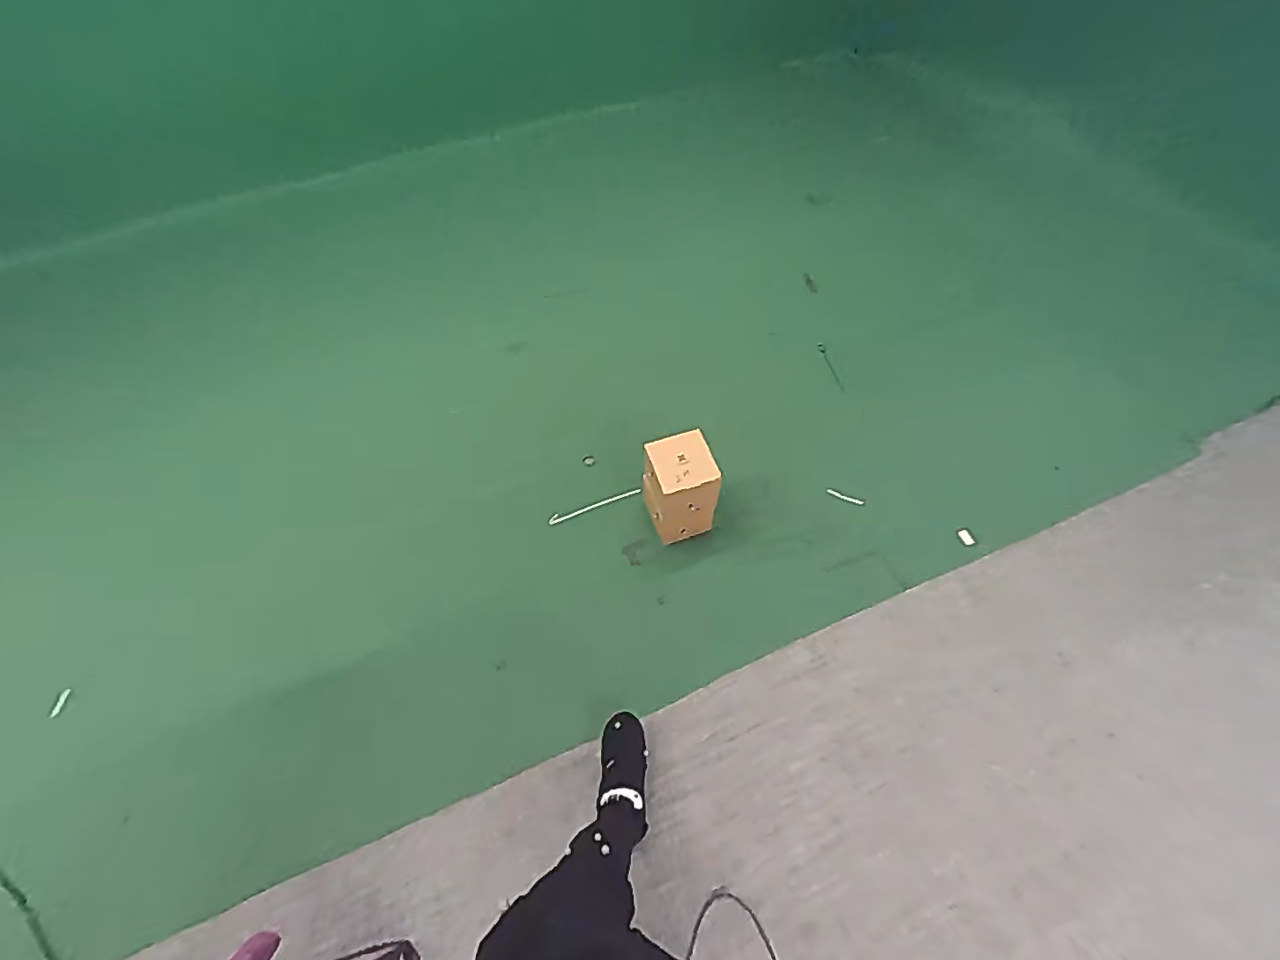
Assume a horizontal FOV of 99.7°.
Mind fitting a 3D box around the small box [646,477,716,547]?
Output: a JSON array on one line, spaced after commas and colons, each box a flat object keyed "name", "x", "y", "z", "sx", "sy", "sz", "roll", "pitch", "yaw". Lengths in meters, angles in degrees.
[{"name": "small box", "x": 0.120, "y": 0.080, "z": 1.685, "sx": 0.168, "sy": 0.176, "sz": 0.179, "roll": -18, "pitch": 60, "yaw": -9}]

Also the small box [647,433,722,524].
[{"name": "small box", "x": 0.120, "y": -0.002, "z": 1.543, "sx": 0.168, "sy": 0.176, "sz": 0.179, "roll": -16, "pitch": 60, "yaw": -8}]
